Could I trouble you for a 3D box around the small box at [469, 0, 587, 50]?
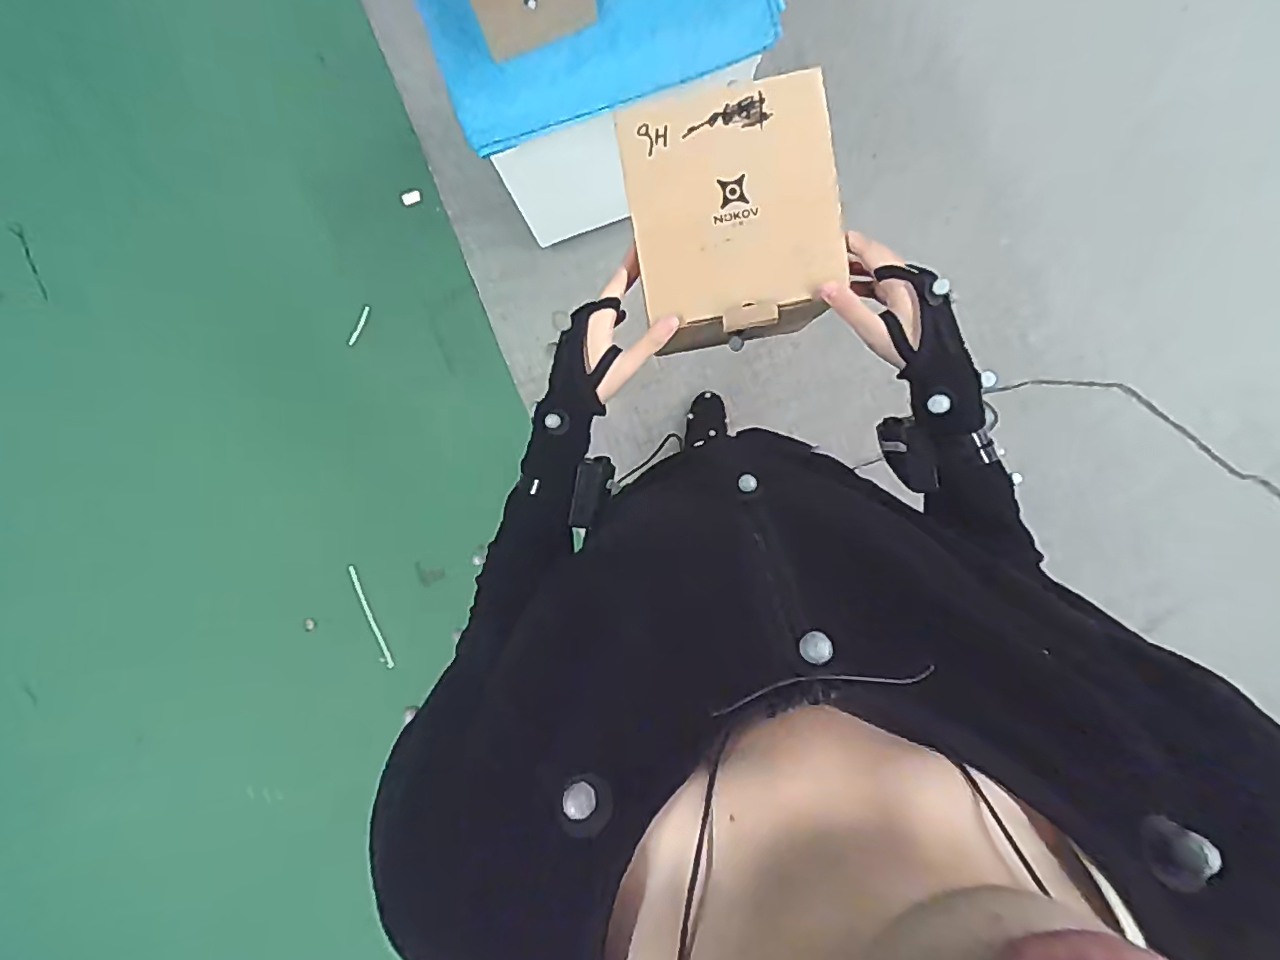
[{"bbox_3d":[-0.178,-0.761,0.752,0.179,0.176,0.168,-20,93,3],"label":"small box"}]
